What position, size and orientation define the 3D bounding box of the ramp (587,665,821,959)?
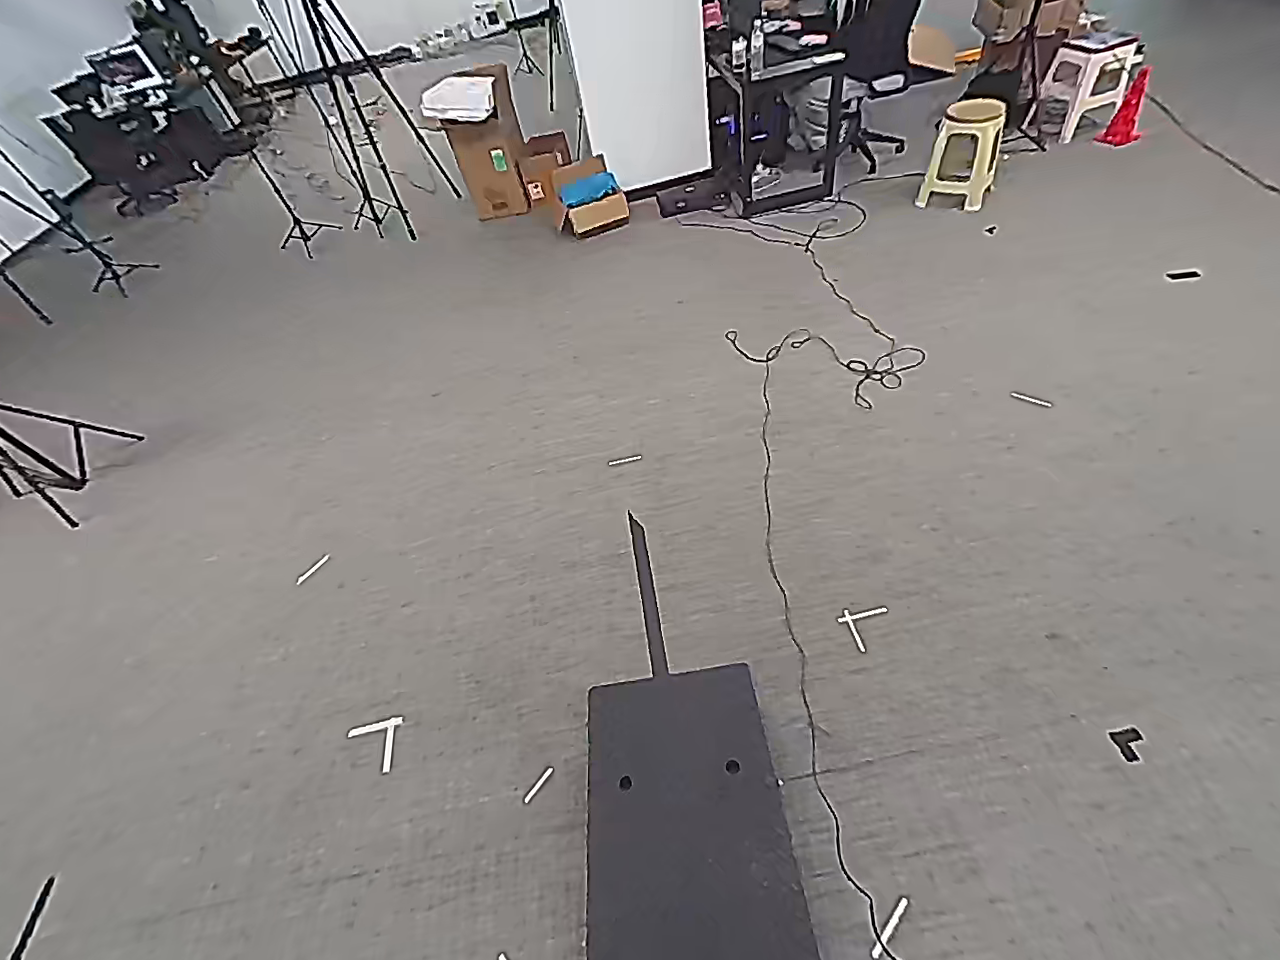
[{"bbox_3d":[0.115,0.906,1.247,0.509,0.206,0.991,-13,48,3],"label":"ramp"}]
